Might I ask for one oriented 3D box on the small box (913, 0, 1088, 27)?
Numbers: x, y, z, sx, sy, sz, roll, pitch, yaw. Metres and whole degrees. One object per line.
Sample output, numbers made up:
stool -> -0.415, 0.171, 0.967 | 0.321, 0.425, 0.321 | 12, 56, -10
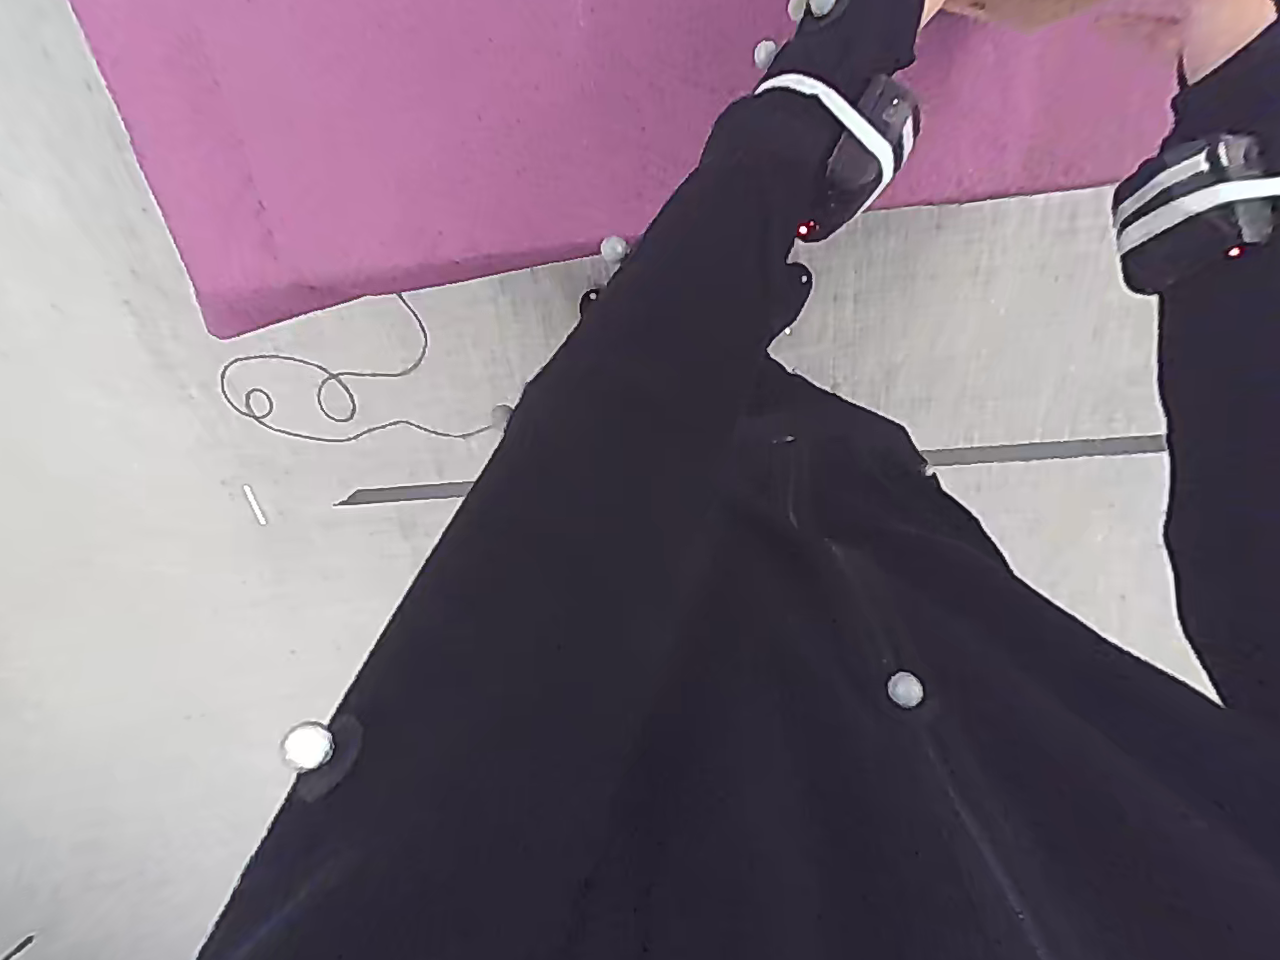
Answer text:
small box -> 0.242, -0.407, 0.310 | 0.168, 0.176, 0.179 | 12, 118, -4
